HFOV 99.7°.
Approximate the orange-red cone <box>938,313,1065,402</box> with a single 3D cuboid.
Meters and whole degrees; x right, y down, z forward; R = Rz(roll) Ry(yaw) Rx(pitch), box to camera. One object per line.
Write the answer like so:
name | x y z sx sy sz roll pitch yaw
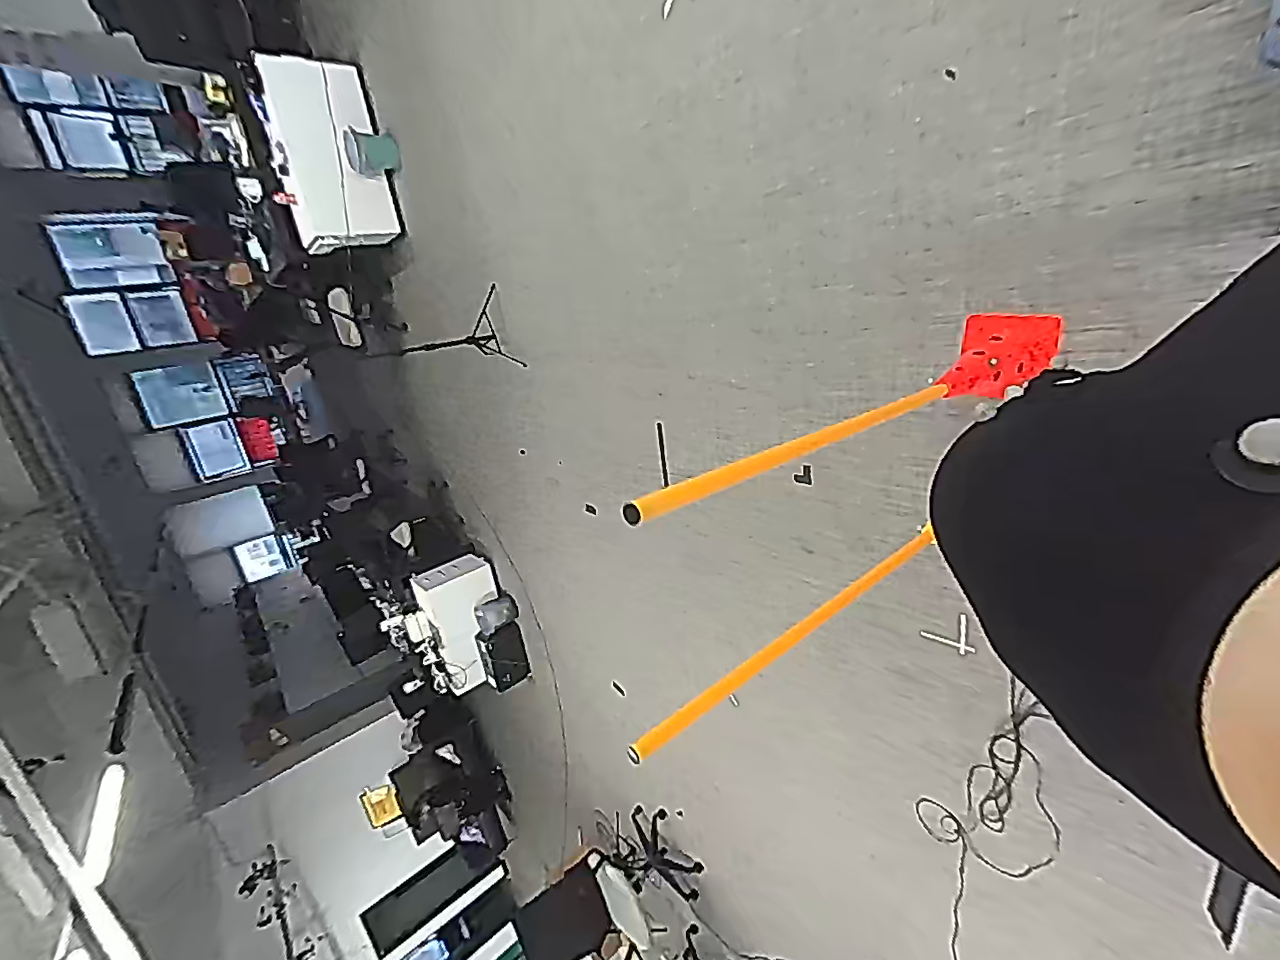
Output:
orange-red cone | 0.743 -0.242 1.181 0.198 0.360 0.199 22 123 45
